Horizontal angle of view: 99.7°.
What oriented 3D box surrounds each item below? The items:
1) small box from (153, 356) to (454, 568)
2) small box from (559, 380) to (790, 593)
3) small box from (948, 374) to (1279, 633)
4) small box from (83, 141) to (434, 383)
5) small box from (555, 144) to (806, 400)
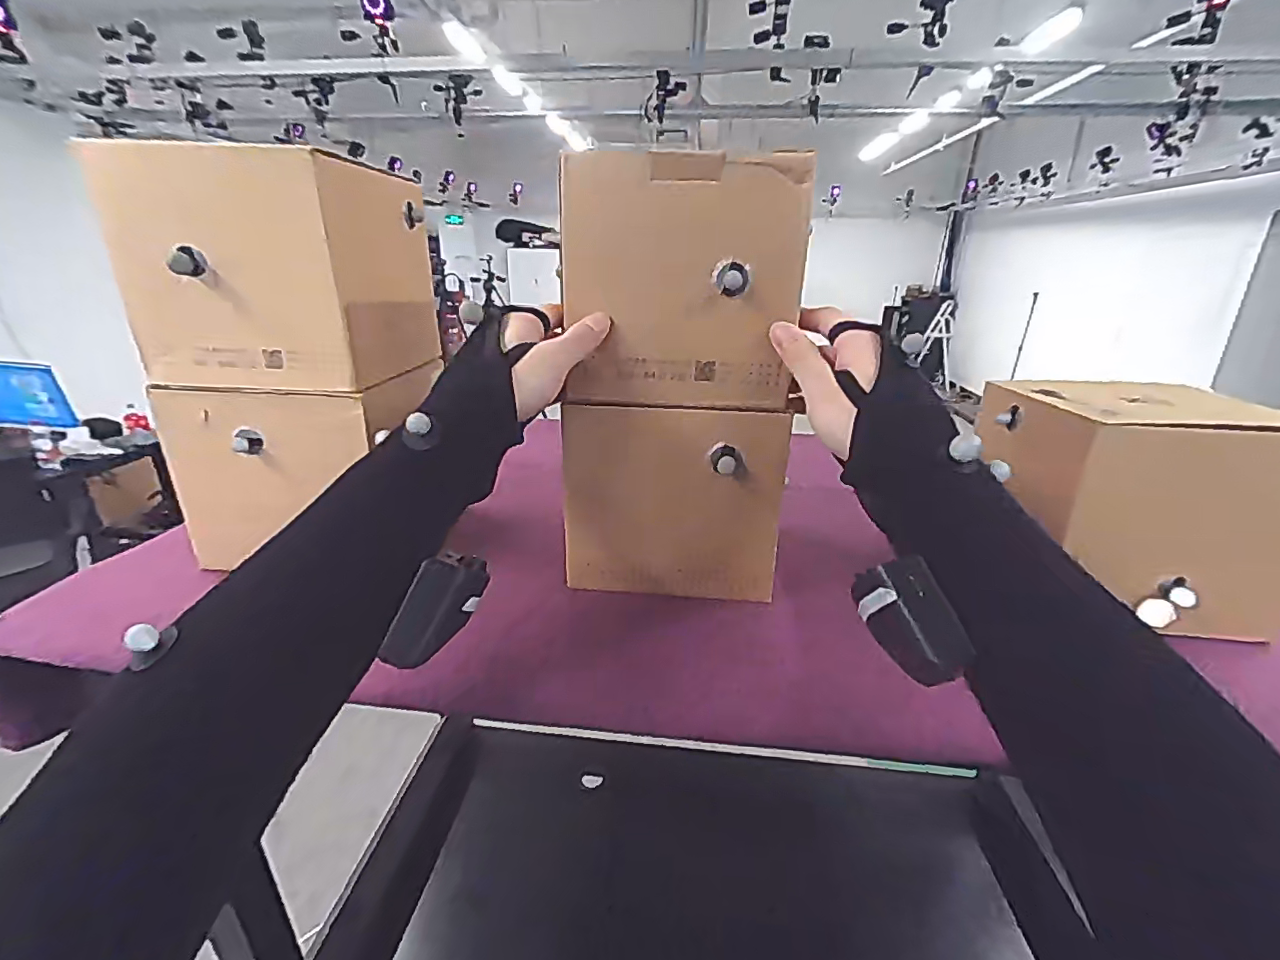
[{"bbox_3d":[-0.299,-0.027,0.525,0.179,0.176,0.168,3,22,2],"label":"small box"},{"bbox_3d":[0.032,-0.011,0.504,0.179,0.176,0.168,3,22,6],"label":"small box"},{"bbox_3d":[0.401,0.011,0.464,0.179,0.176,0.168,4,20,6],"label":"small box"},{"bbox_3d":[-0.295,-0.180,0.470,0.168,0.176,0.179,2,21,2],"label":"small box"},{"bbox_3d":[0.035,-0.166,0.451,0.168,0.176,0.179,5,22,7],"label":"small box"}]
